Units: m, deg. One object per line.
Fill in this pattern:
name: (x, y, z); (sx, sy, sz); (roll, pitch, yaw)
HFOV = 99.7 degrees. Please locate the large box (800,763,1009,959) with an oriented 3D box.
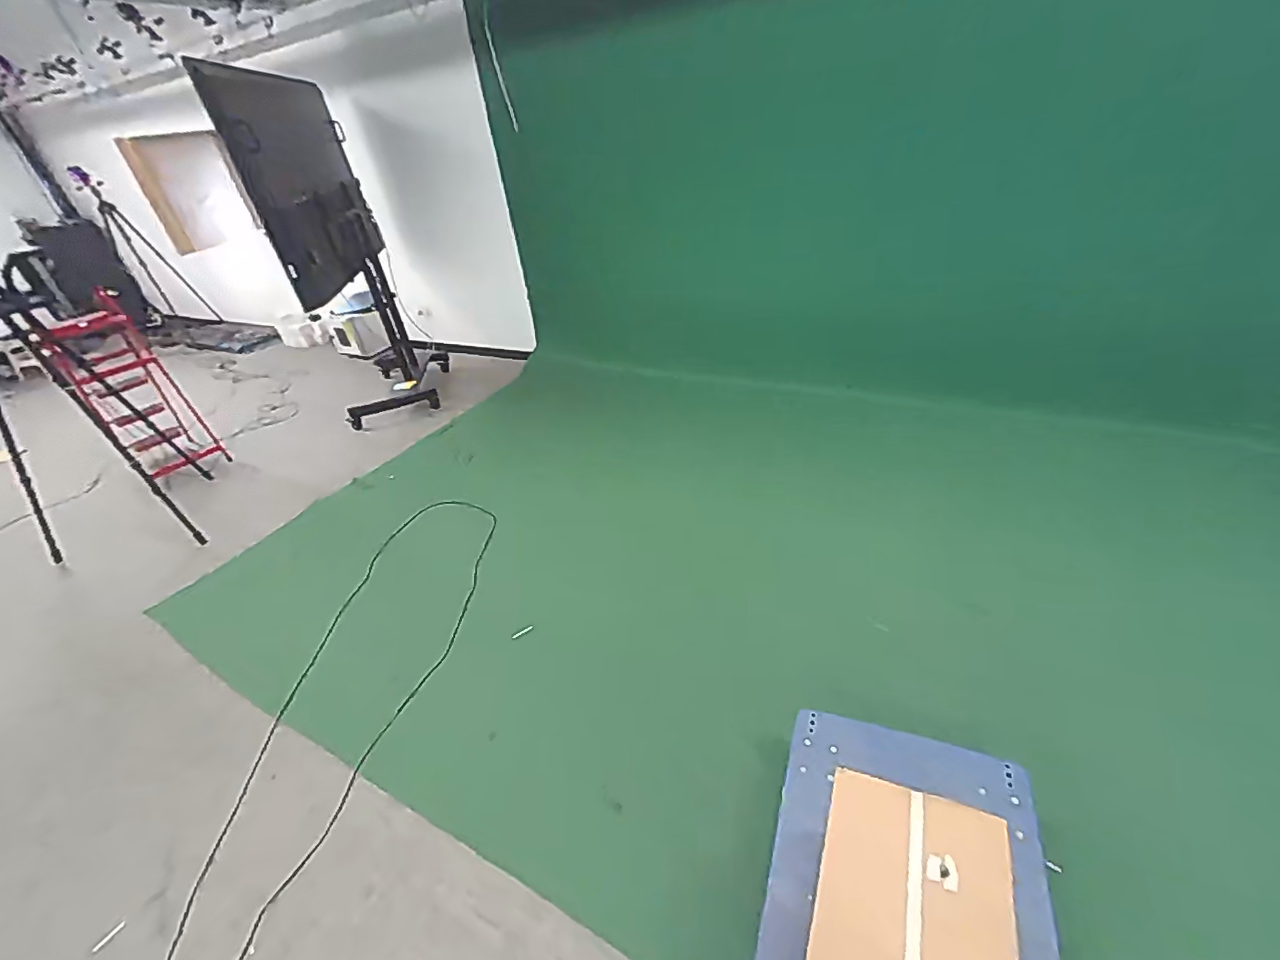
large box: (0.493, 0.860, 1.044); (0.320, 0.320, 0.408); (9, 37, 24)
